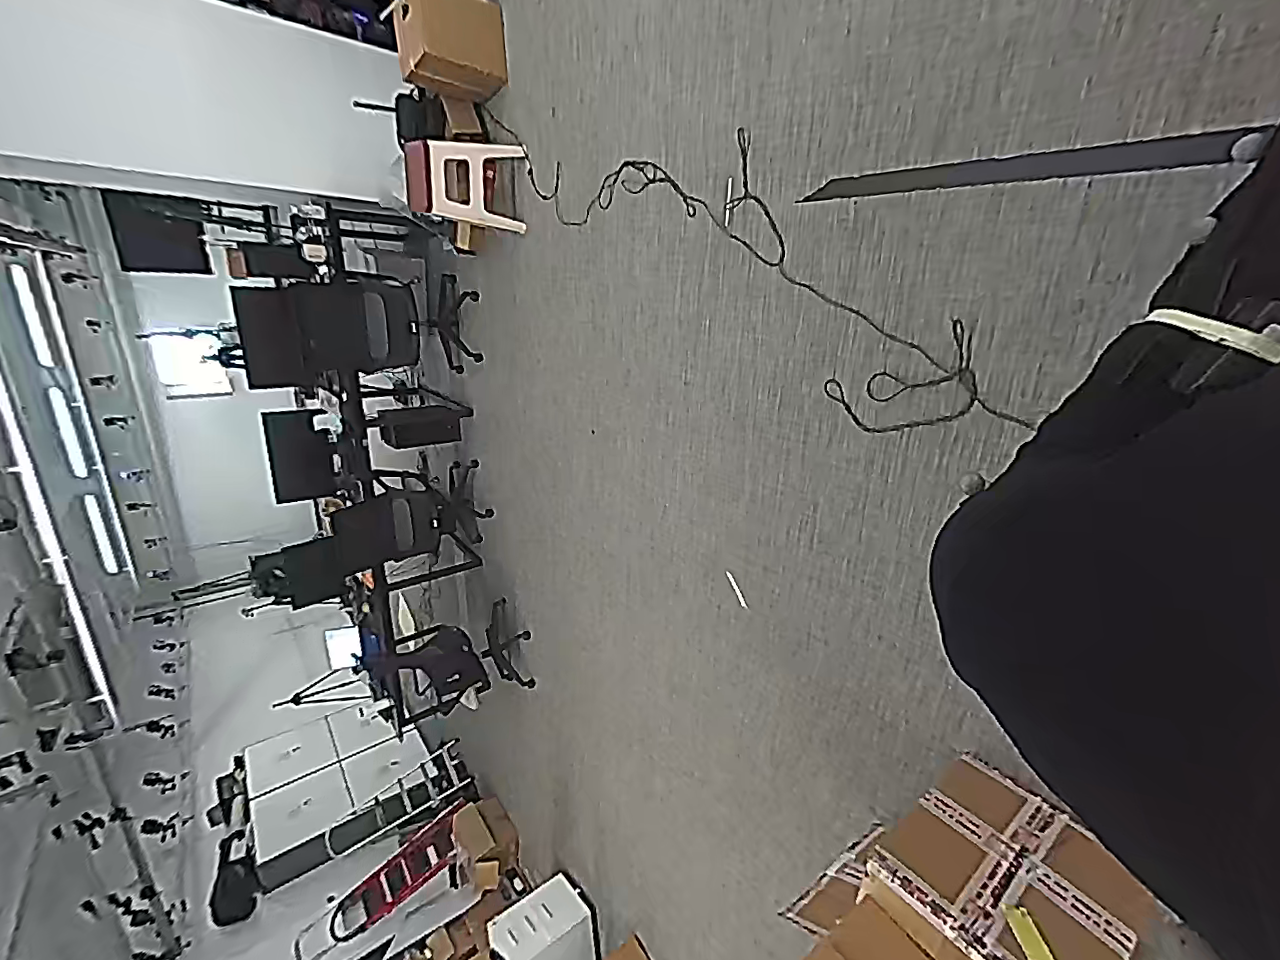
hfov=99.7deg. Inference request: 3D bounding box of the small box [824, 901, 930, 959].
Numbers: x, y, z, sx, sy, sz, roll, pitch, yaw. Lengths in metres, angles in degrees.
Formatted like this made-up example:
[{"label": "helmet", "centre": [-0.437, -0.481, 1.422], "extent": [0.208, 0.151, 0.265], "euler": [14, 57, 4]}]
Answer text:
[{"label": "small box", "centre": [0.472, 1.006, 1.078], "extent": [0.179, 0.176, 0.168], "euler": [34, 124, 47]}]
